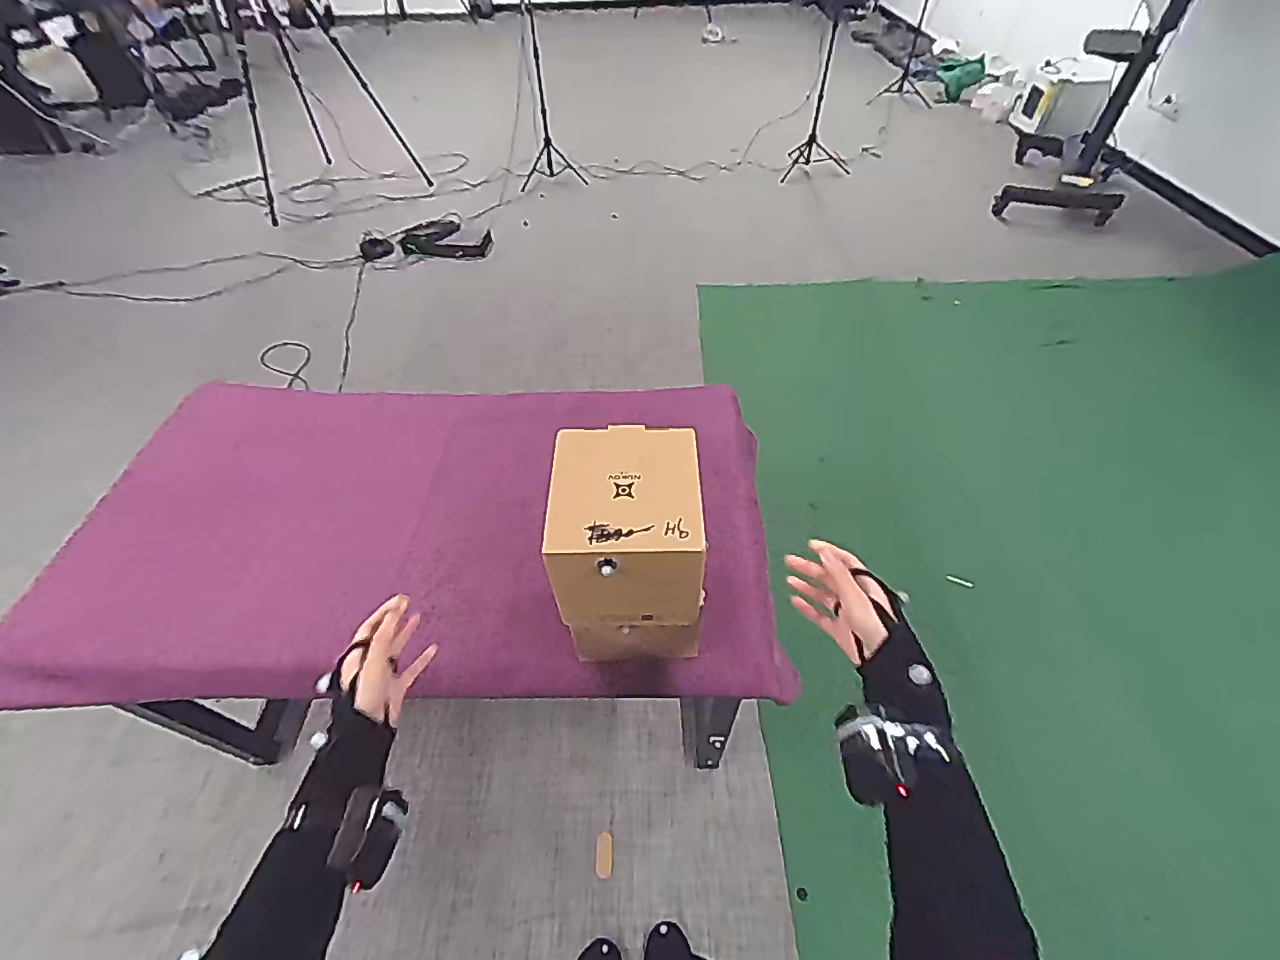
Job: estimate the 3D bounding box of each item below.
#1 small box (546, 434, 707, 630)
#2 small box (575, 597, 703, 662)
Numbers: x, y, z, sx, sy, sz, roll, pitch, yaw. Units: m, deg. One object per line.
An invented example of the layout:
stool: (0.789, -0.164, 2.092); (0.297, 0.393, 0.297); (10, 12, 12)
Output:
small box: (-0.011, 0.063, 0.654); (0.168, 0.176, 0.179); (-1, 49, 2)
small box: (-0.005, 0.156, 0.791); (0.179, 0.176, 0.168); (-2, 50, 0)
